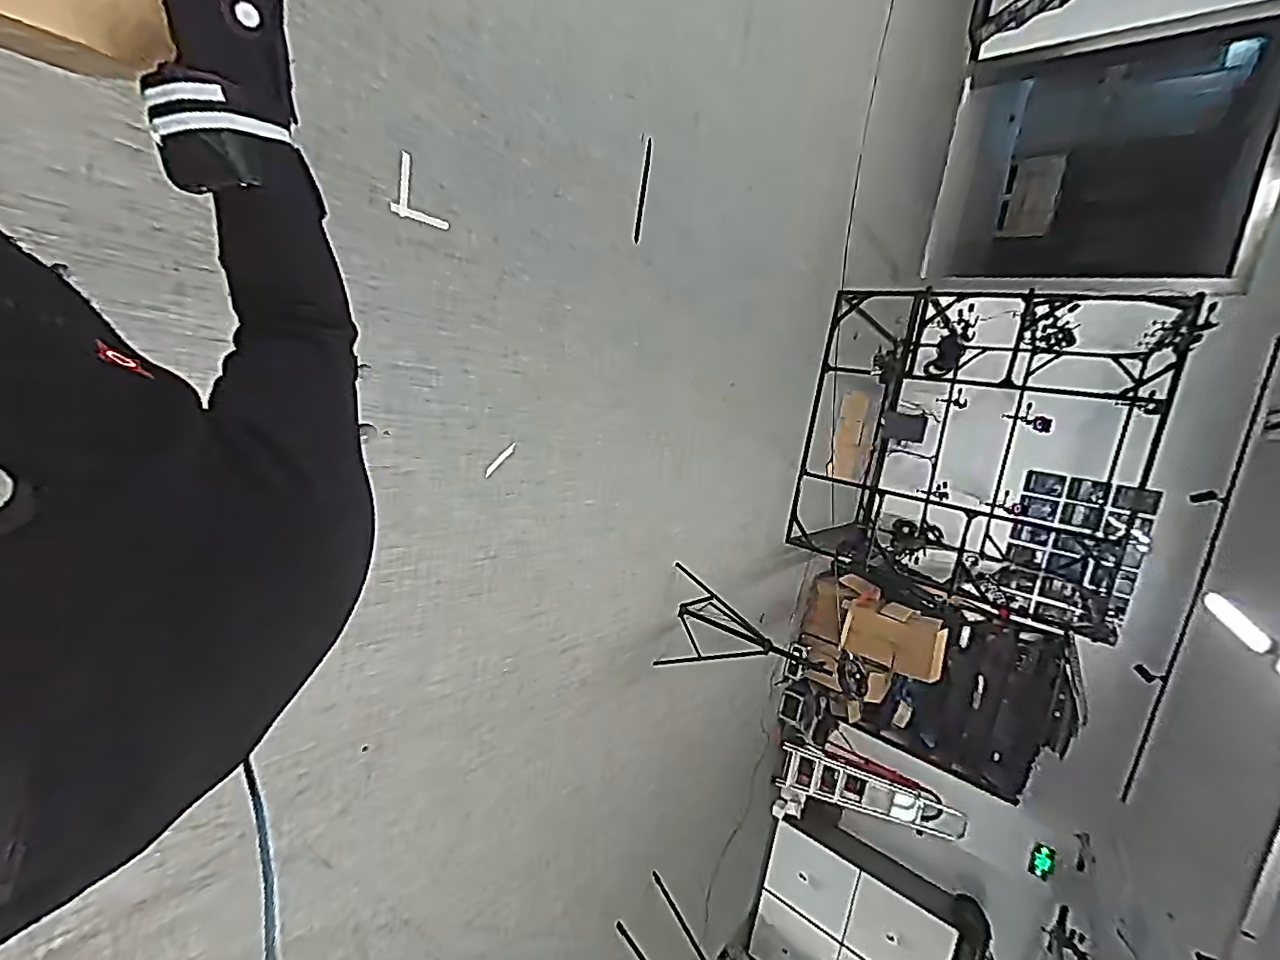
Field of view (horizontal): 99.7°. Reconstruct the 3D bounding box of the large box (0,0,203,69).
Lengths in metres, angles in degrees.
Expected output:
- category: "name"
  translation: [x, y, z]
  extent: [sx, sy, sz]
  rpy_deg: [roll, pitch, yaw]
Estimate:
- category: "large box"
  translation: [-0.519, -0.473, 0.269]
  extent: [0.408, 0.320, 0.320]
  rpy_deg: [-10, 123, -53]
